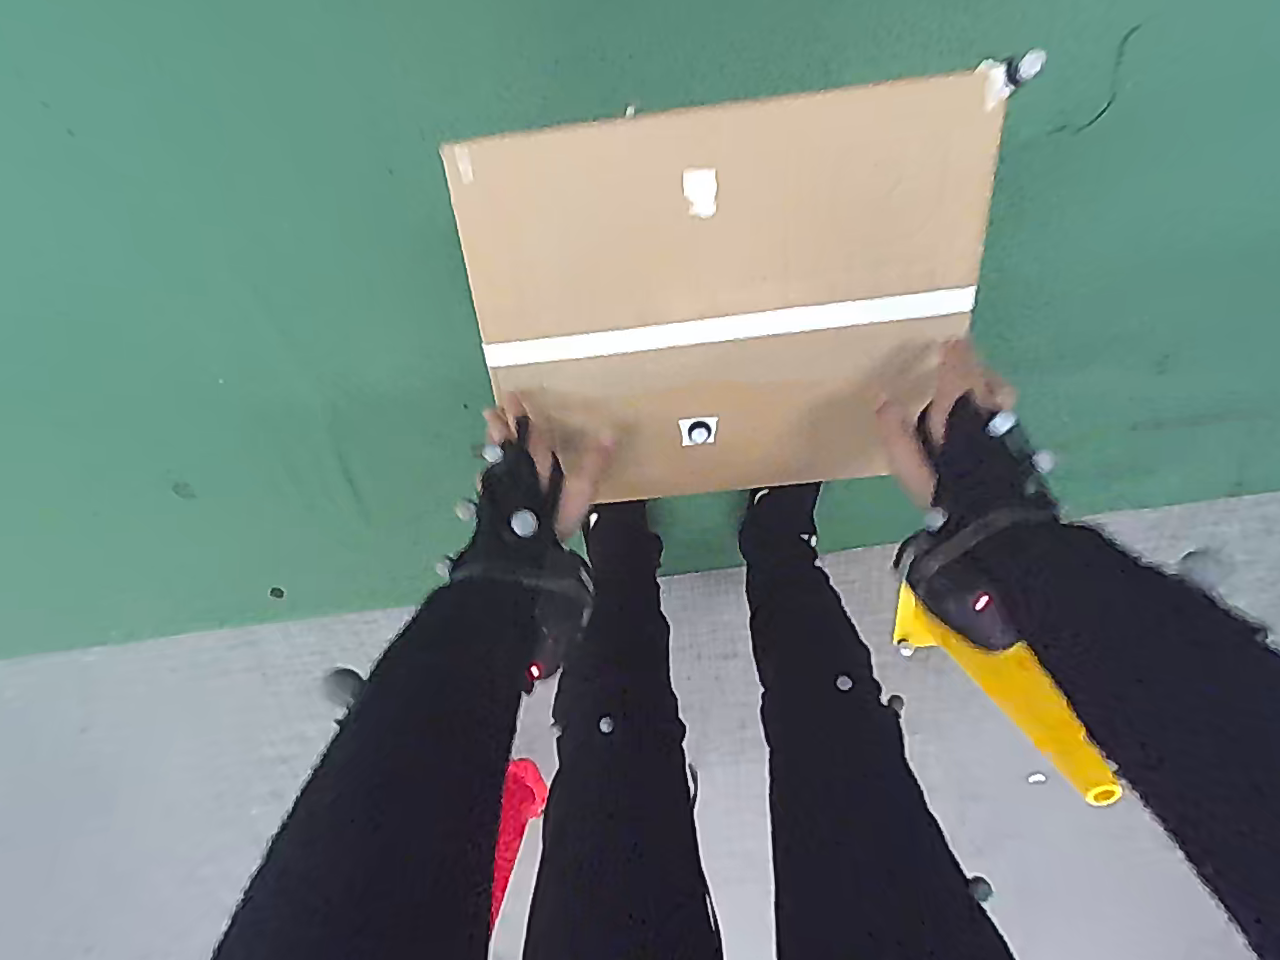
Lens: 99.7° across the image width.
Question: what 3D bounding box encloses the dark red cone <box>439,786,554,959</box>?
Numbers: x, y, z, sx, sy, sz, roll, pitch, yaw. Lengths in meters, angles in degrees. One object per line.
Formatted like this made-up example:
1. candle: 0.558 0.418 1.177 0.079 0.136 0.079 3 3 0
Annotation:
1. dark red cone: -0.308 0.801 1.016 0.202 0.394 0.201 -15 112 8
